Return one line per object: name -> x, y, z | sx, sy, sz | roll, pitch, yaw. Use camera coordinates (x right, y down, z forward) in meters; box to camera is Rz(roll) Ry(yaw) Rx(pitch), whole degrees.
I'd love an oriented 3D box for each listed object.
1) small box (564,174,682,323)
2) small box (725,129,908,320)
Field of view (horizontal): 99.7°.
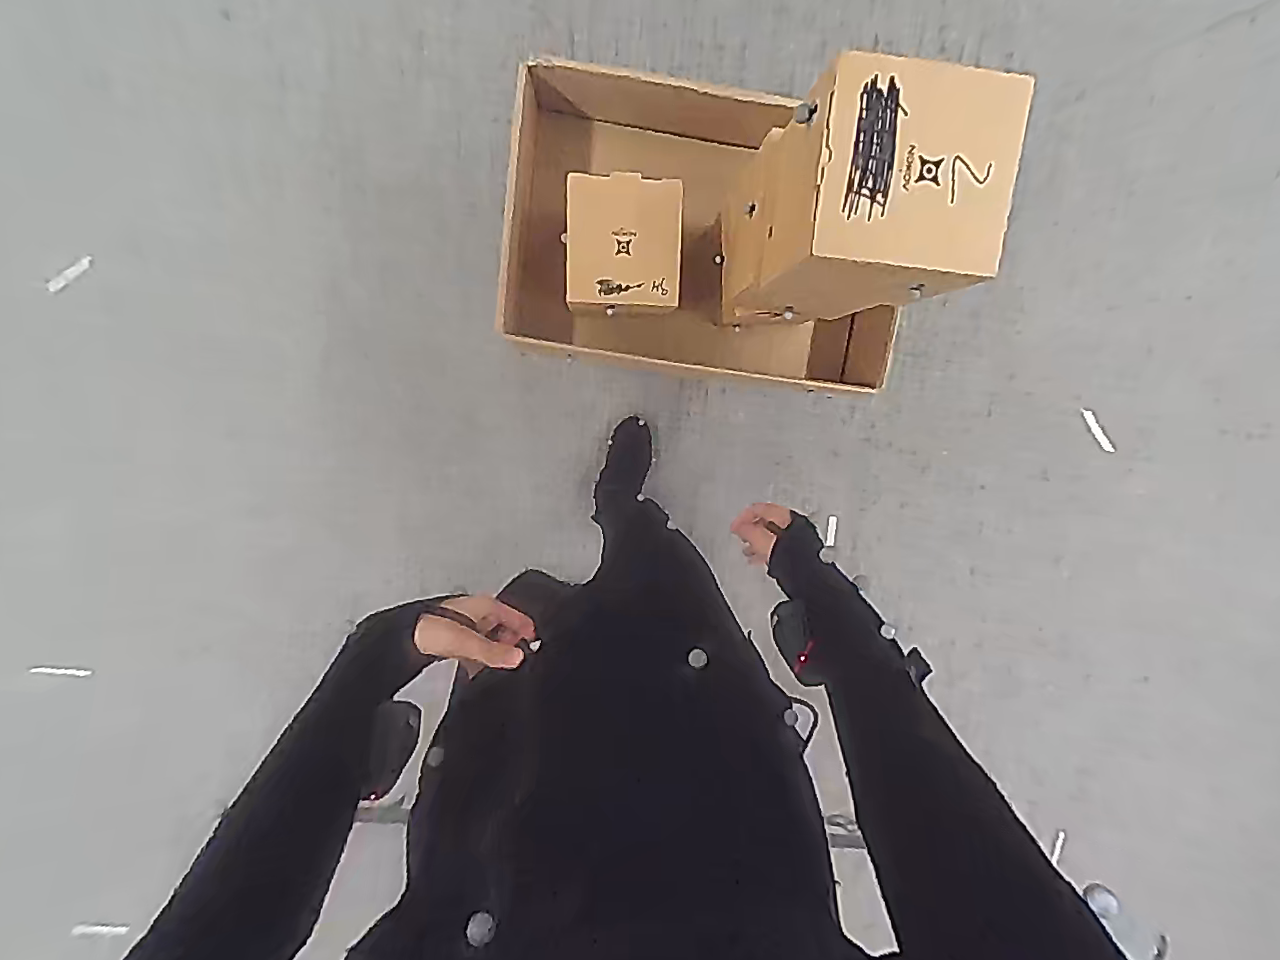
small box -> -0.030, -0.351, 0.850 | 0.168, 0.176, 0.179 | 1, 99, -3
small box -> 0.214, -0.316, 0.705 | 0.168, 0.176, 0.179 | 6, 100, -3
